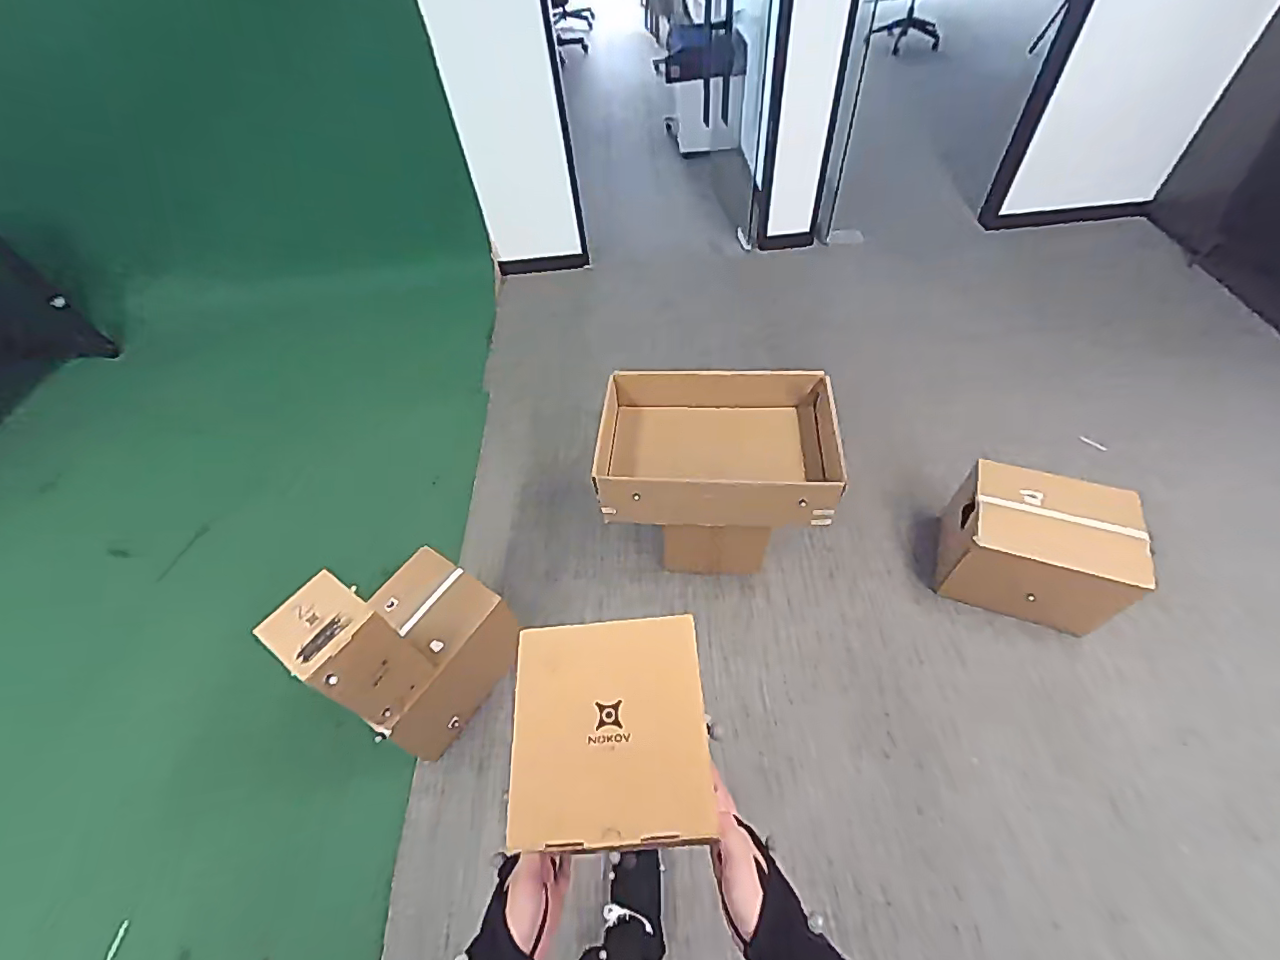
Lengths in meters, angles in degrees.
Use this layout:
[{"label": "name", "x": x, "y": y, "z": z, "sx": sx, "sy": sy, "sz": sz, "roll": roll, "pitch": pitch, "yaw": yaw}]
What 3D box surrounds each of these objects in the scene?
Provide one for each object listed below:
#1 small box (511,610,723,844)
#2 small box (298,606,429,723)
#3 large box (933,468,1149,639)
[{"label": "small box", "x": -0.017, "y": 0.244, "z": 0.525, "sx": 0.168, "sy": 0.176, "sz": 0.179, "roll": -5, "pitch": 56, "yaw": 2}, {"label": "small box", "x": -0.618, "y": 0.426, "z": 1.230, "sx": 0.179, "sy": 0.176, "sz": 0.168, "roll": 29, "pitch": 59, "yaw": 24}, {"label": "large box", "x": 1.126, "y": 0.214, "z": 1.571, "sx": 0.408, "sy": 0.320, "sz": 0.320, "roll": 14, "pitch": 54, "yaw": 16}]
